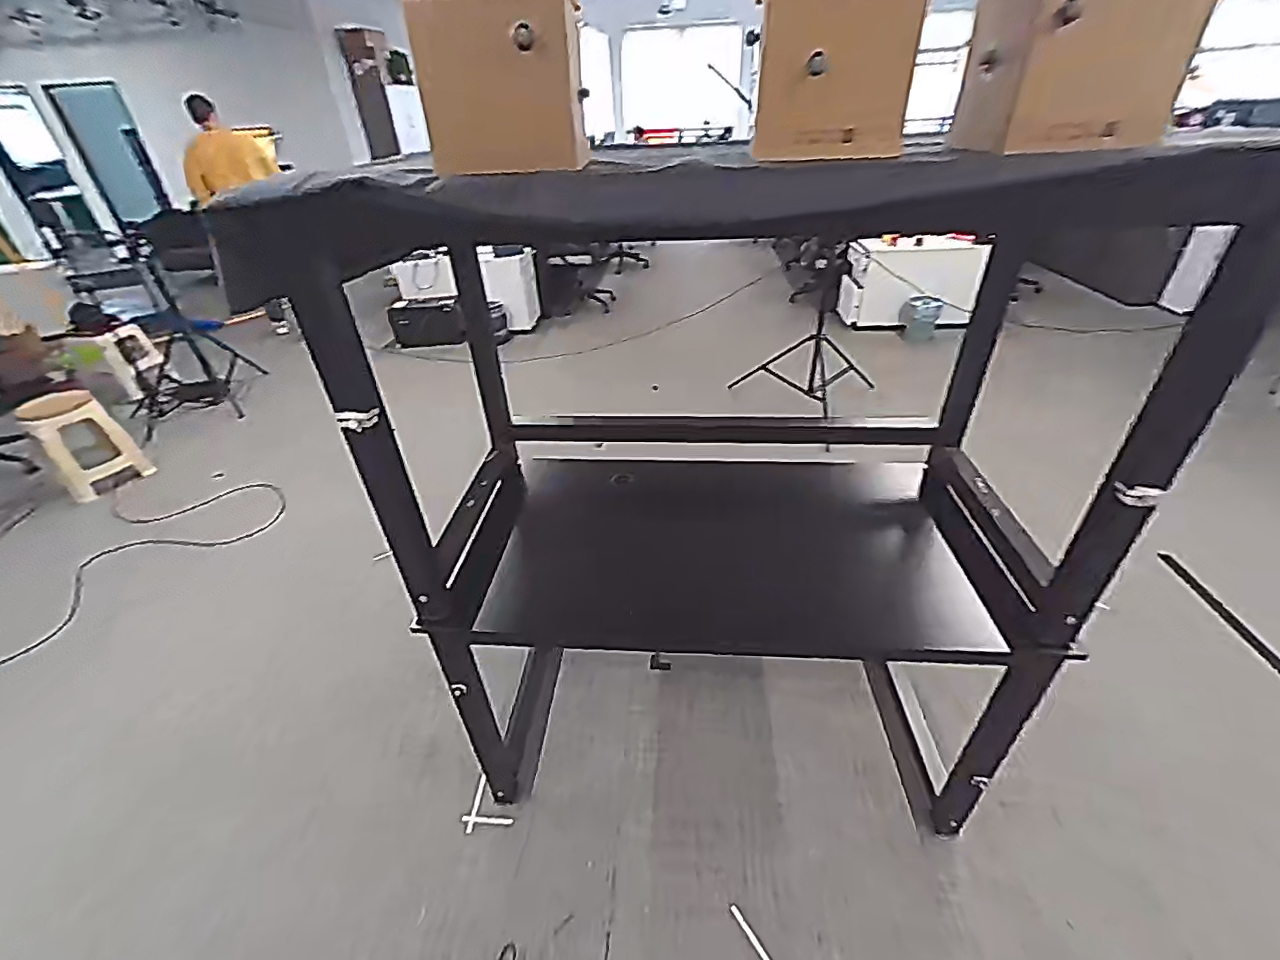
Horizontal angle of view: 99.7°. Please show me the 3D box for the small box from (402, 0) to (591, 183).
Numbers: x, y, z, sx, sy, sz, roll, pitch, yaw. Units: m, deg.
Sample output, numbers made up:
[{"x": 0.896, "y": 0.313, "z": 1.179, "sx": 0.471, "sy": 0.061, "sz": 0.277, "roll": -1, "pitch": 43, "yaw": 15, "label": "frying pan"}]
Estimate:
[{"x": -0.158, "y": -0.473, "z": 0.668, "sx": 0.179, "sy": 0.176, "sz": 0.168, "roll": -2, "pitch": 32, "yaw": 2, "label": "small box"}]

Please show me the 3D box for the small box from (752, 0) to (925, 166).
[{"x": 0.226, "y": -0.481, "z": 0.652, "sx": 0.168, "sy": 0.176, "sz": 0.179, "roll": 2, "pitch": 33, "yaw": 8, "label": "small box"}]
